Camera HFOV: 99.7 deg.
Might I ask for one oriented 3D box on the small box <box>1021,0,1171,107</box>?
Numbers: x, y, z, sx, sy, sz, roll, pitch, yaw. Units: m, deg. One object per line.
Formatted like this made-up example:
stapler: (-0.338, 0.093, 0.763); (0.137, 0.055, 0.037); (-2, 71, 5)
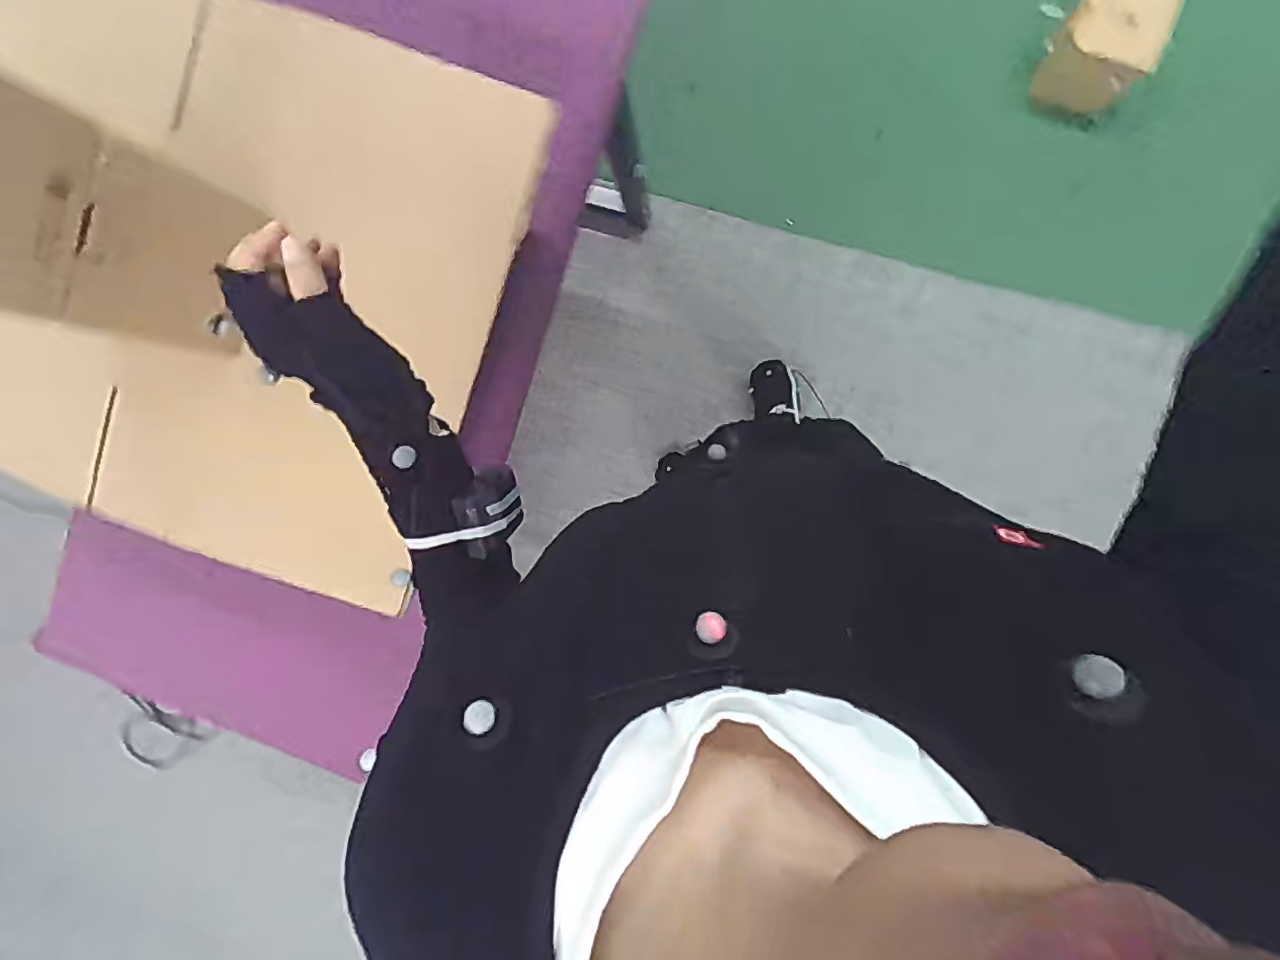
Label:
small box: (1.030, -0.995, 1.233); (0.179, 0.176, 0.168); (18, 96, 3)

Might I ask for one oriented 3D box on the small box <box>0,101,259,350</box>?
small box: (-0.519, -0.233, 0.524); (0.179, 0.176, 0.168); (16, 96, 4)
